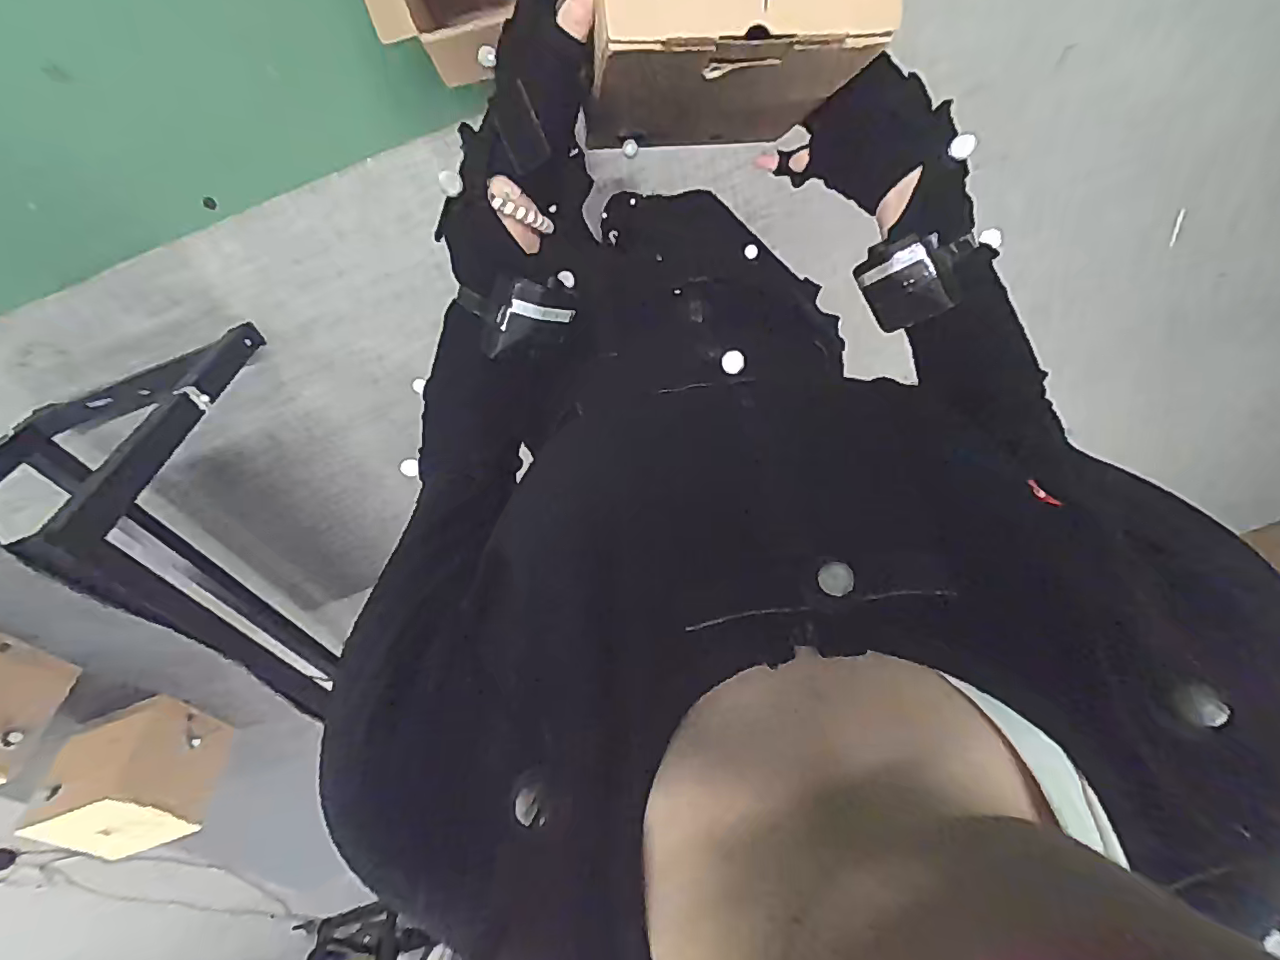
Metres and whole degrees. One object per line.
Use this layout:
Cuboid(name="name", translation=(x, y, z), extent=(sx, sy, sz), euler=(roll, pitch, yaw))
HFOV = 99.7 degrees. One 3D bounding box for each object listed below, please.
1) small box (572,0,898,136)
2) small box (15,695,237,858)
Cuboid(name="small box", translation=(0.044, -0.340, 0.344), extent=(0.168, 0.176, 0.179), euler=(-8, 106, -8))
Cuboid(name="small box", translation=(-0.831, 0.490, 0.901), extent=(0.179, 0.176, 0.168), euler=(-21, 131, 4))
